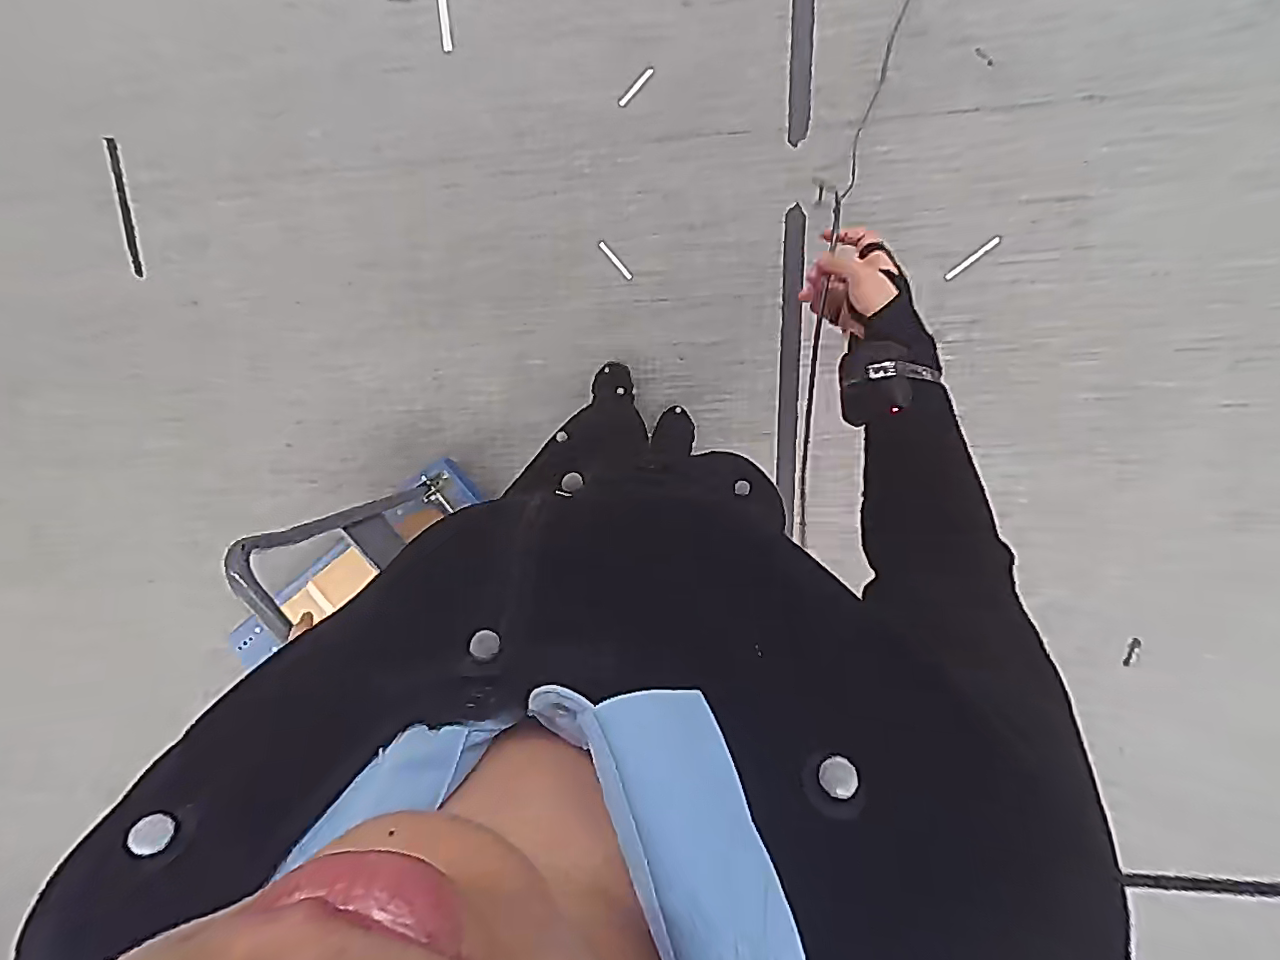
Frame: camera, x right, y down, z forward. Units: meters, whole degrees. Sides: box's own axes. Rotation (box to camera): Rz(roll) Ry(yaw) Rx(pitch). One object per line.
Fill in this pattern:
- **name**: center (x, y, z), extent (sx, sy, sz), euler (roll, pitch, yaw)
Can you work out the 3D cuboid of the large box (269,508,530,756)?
- **large box**: center (-0.538, 0.338, 1.282), extent (0.320, 0.320, 0.408), euler (-37, 94, 11)
